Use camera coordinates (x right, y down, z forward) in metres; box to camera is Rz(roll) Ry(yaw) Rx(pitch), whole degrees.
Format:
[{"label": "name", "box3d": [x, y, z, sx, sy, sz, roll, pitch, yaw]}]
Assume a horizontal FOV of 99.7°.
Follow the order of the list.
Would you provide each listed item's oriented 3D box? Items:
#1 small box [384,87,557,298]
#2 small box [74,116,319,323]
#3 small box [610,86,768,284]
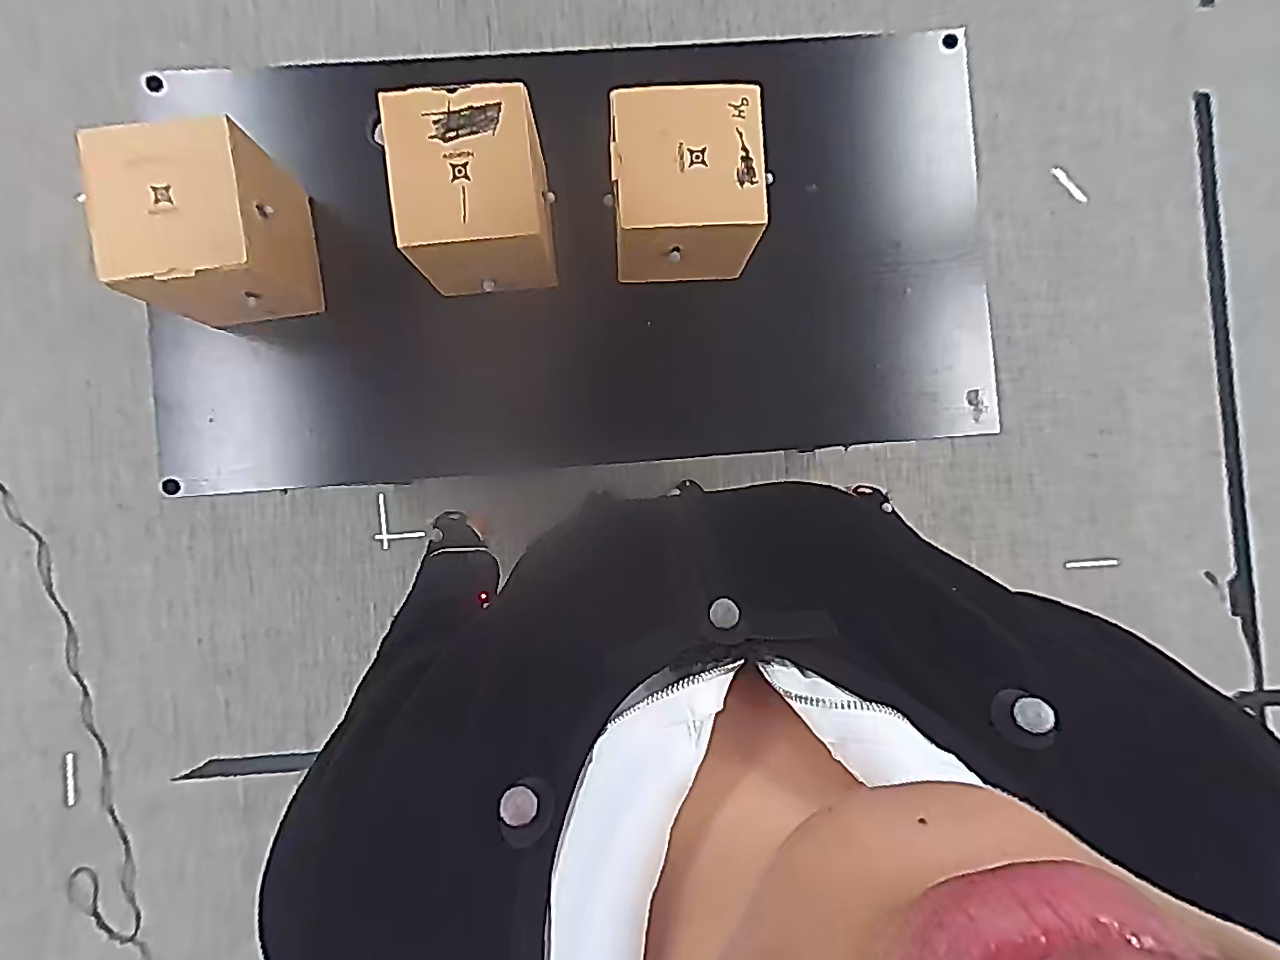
[{"label": "small box", "box3d": [-0.203, -0.352, 0.689, 0.168, 0.176, 0.179, -6, 90, -2]}, {"label": "small box", "box3d": [-0.533, -0.308, 0.677, 0.168, 0.176, 0.179, -9, 89, -4]}, {"label": "small box", "box3d": [0.056, -0.366, 0.699, 0.179, 0.176, 0.168, -3, 89, -1]}]
